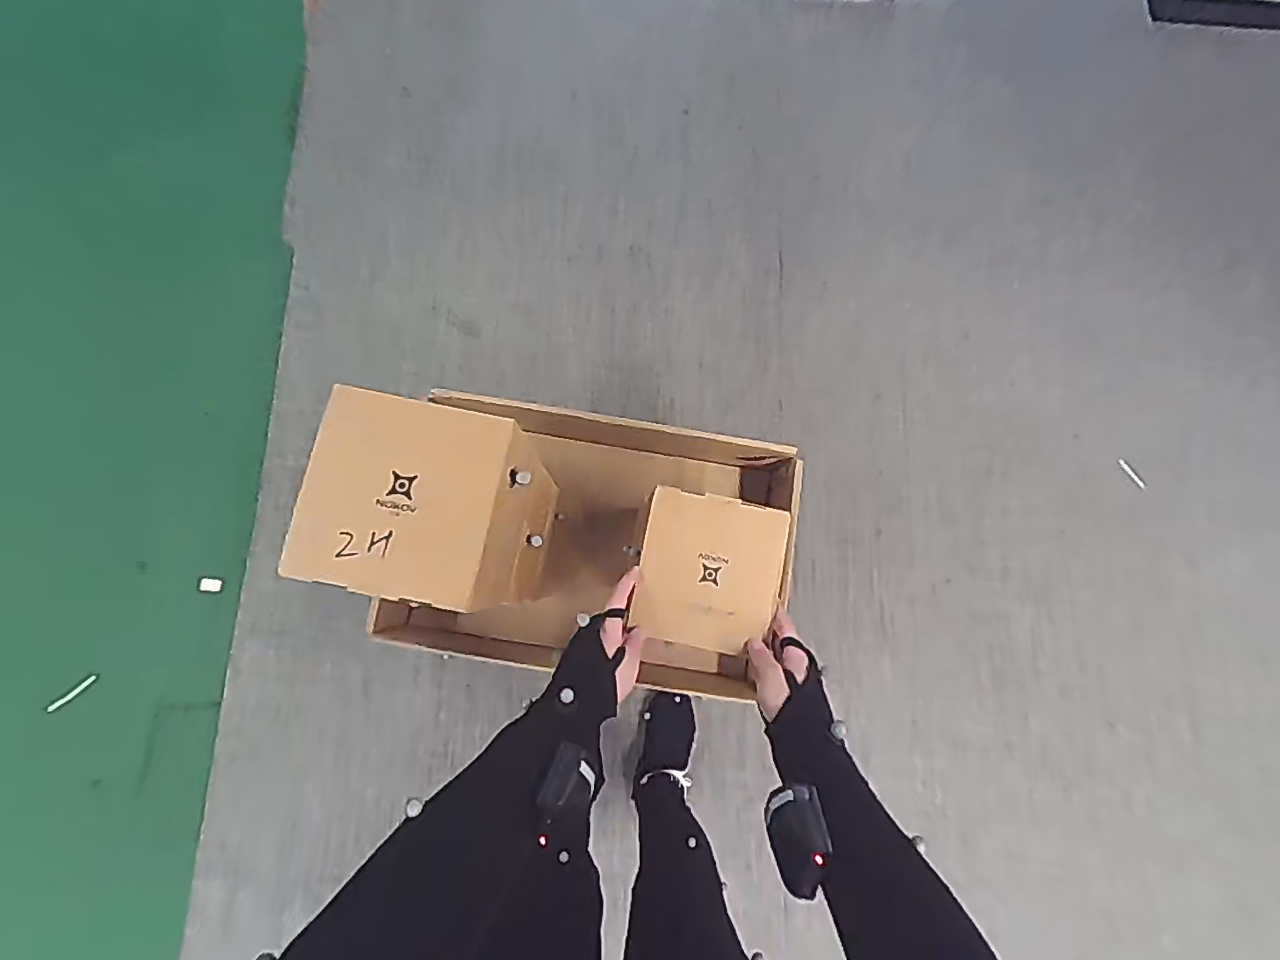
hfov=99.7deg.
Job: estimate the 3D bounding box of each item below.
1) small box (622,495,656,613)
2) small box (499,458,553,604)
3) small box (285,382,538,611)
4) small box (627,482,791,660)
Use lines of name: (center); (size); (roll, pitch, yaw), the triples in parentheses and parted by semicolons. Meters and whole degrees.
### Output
small box: (0.068, 0.135, 0.874); (0.168, 0.176, 0.179); (11, 80, -1)
small box: (-0.215, 0.056, 0.713); (0.168, 0.176, 0.179); (11, 81, -1)
small box: (-0.208, 0.025, 0.550); (0.168, 0.176, 0.179); (12, 80, 0)
small box: (0.079, 0.116, 0.700); (0.168, 0.176, 0.179); (12, 80, 0)
